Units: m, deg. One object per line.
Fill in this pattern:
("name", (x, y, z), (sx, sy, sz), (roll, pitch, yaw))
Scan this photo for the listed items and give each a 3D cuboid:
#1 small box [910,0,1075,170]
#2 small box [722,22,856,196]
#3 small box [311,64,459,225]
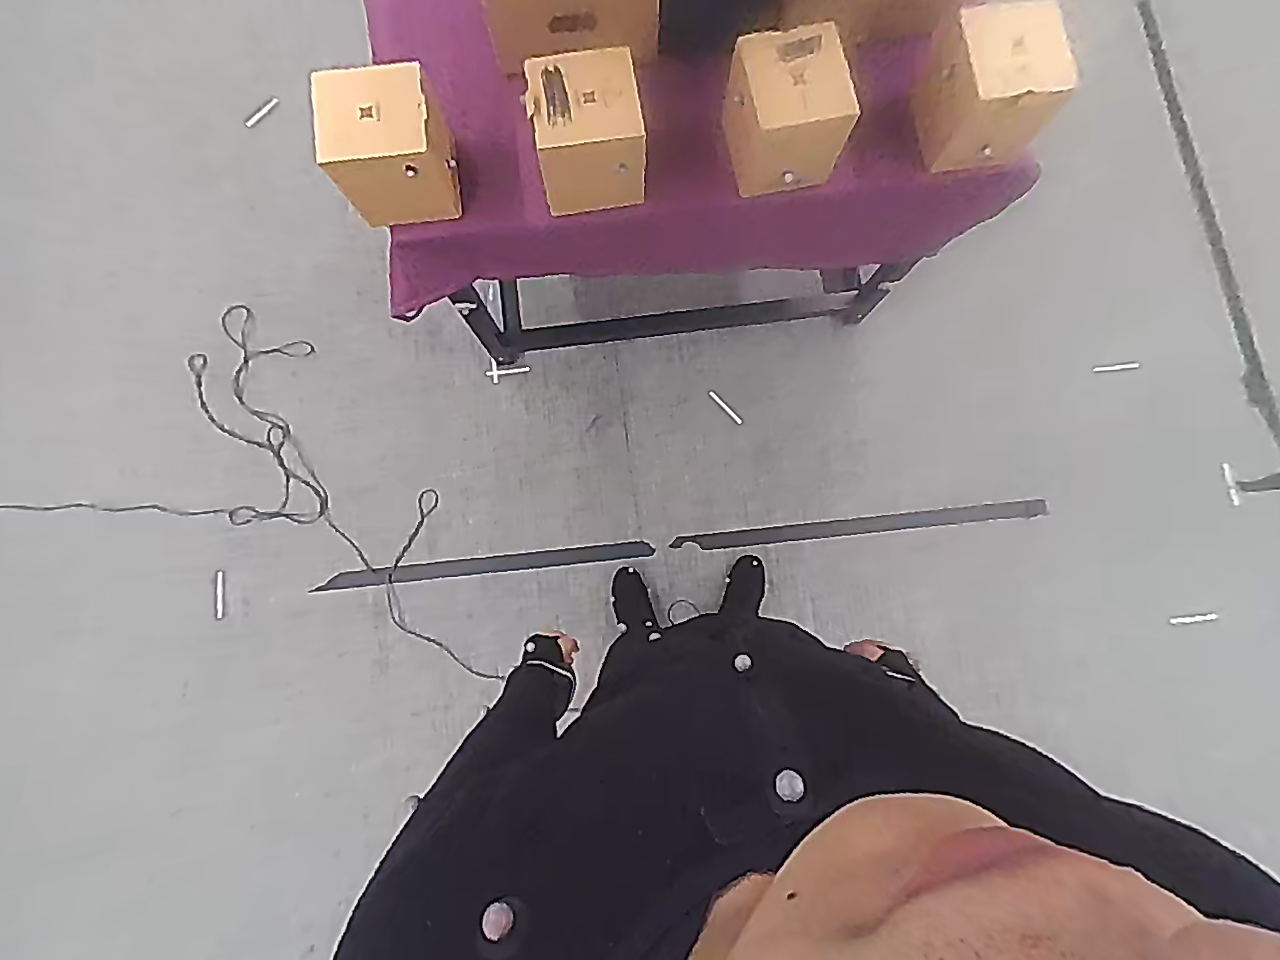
("small box", (0.605, -0.688, 0.954), (0.168, 0.176, 0.179), (-7, 81, 0))
("small box", (0.249, -0.639, 0.947), (0.168, 0.176, 0.179), (-11, 83, -1))
("small box", (-0.431, -0.564, 0.932), (0.179, 0.176, 0.168), (-8, 82, -3))
